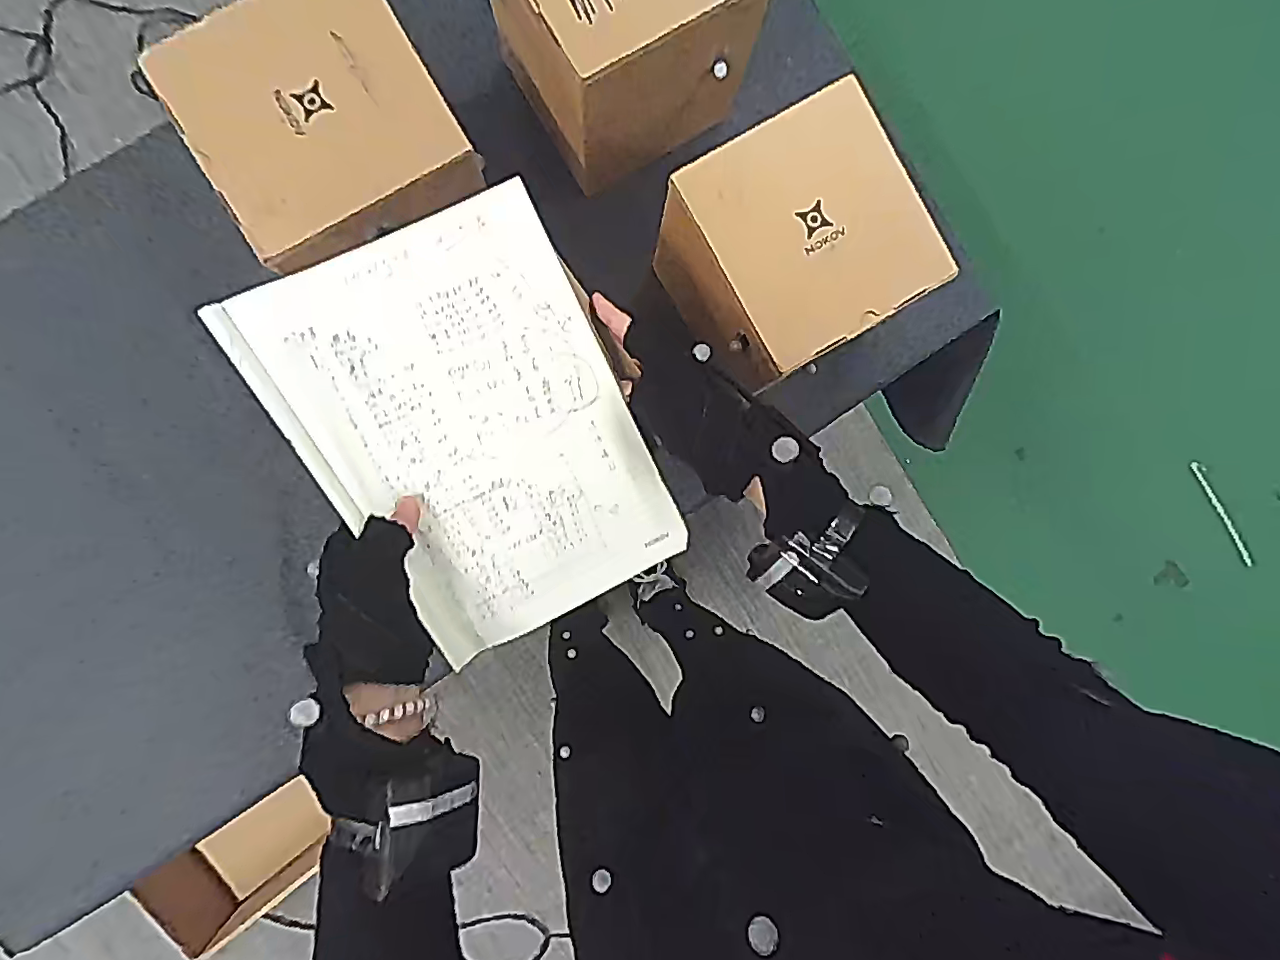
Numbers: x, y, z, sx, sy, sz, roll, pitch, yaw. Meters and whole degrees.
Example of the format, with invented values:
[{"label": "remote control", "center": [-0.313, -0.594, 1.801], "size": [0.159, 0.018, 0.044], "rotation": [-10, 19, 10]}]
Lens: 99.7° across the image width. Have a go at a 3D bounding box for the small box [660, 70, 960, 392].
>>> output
[{"label": "small box", "center": [0.131, -0.201, 0.490], "size": [0.168, 0.176, 0.179], "rotation": [-30, 92, -3]}]
